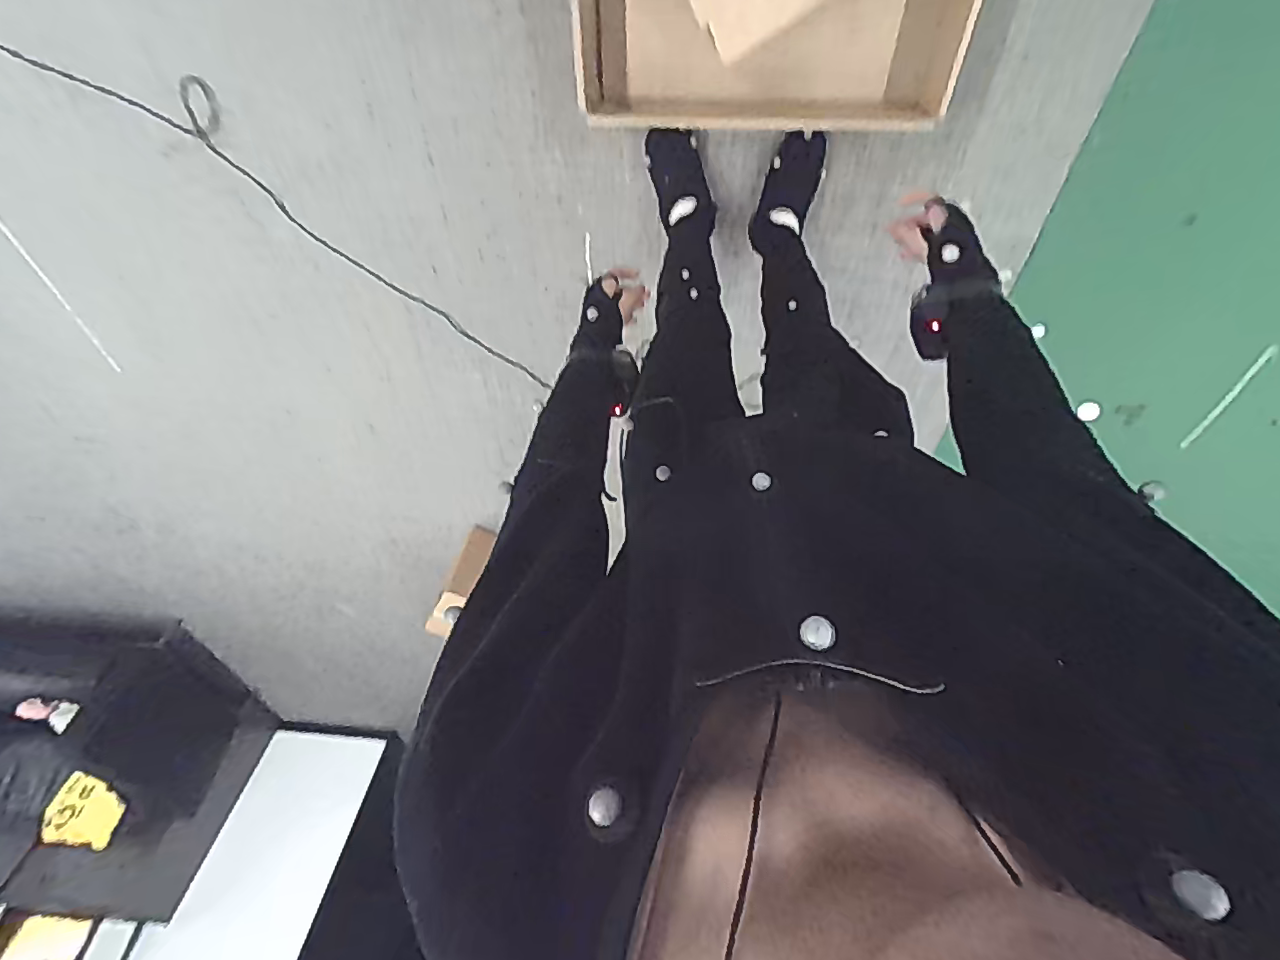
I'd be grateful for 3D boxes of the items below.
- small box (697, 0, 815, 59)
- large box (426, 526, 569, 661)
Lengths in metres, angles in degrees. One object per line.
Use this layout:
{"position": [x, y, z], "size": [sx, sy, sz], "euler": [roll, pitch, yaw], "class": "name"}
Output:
{"position": [0.172, -0.791, 0.826], "size": [0.179, 0.176, 0.168], "euler": [-19, 128, 25], "class": "small box"}
{"position": [-0.539, 0.440, 2.083], "size": [0.408, 0.320, 0.320], "euler": [27, 131, -15], "class": "large box"}
